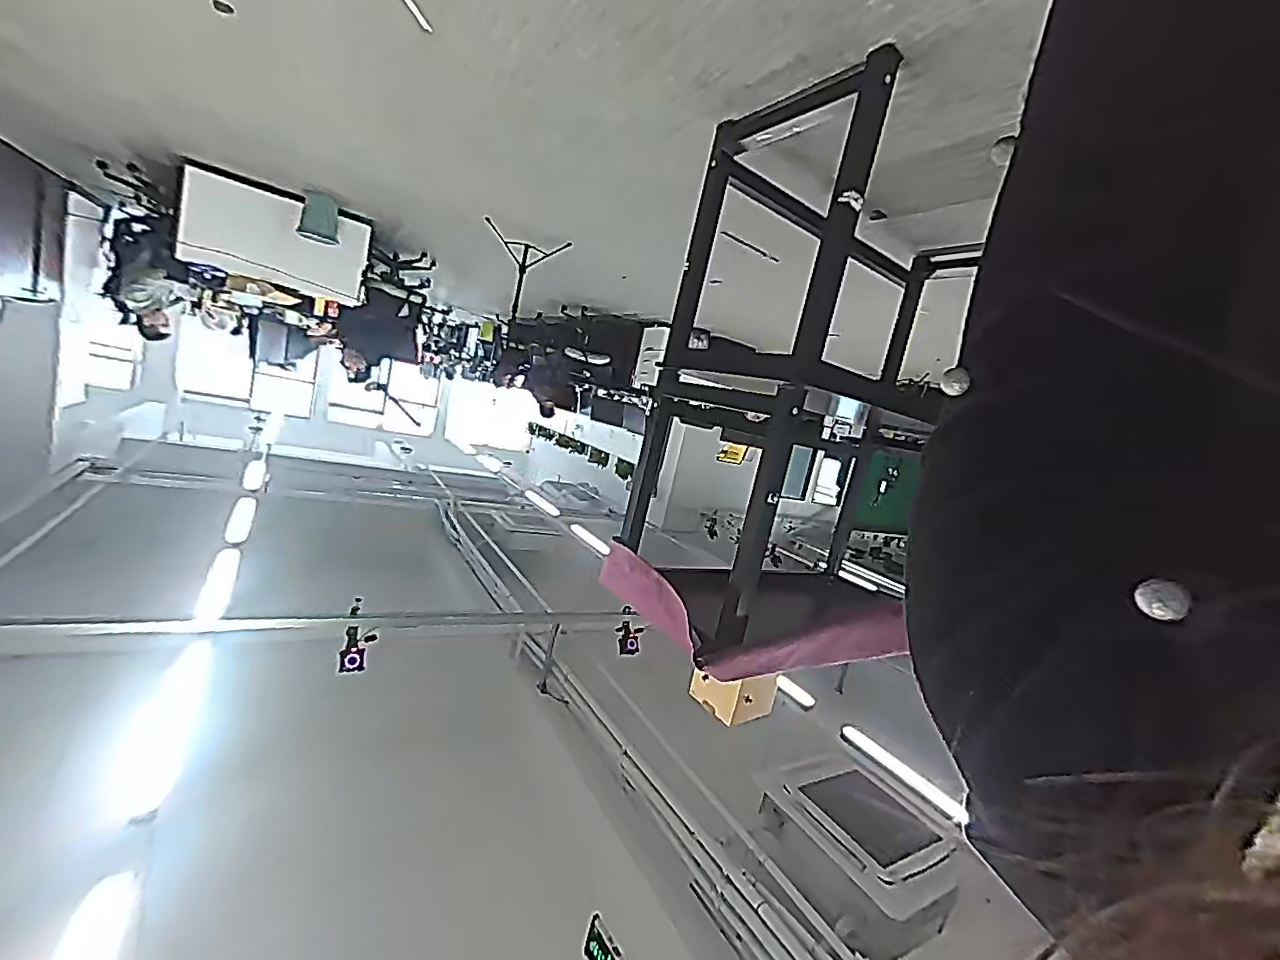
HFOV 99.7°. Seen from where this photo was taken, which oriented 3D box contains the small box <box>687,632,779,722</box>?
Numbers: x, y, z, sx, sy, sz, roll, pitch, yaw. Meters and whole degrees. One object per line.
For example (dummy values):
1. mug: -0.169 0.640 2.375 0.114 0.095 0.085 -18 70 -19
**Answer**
1. small box: 0.262 0.544 1.523 0.179 0.176 0.168 4 -168 -40
